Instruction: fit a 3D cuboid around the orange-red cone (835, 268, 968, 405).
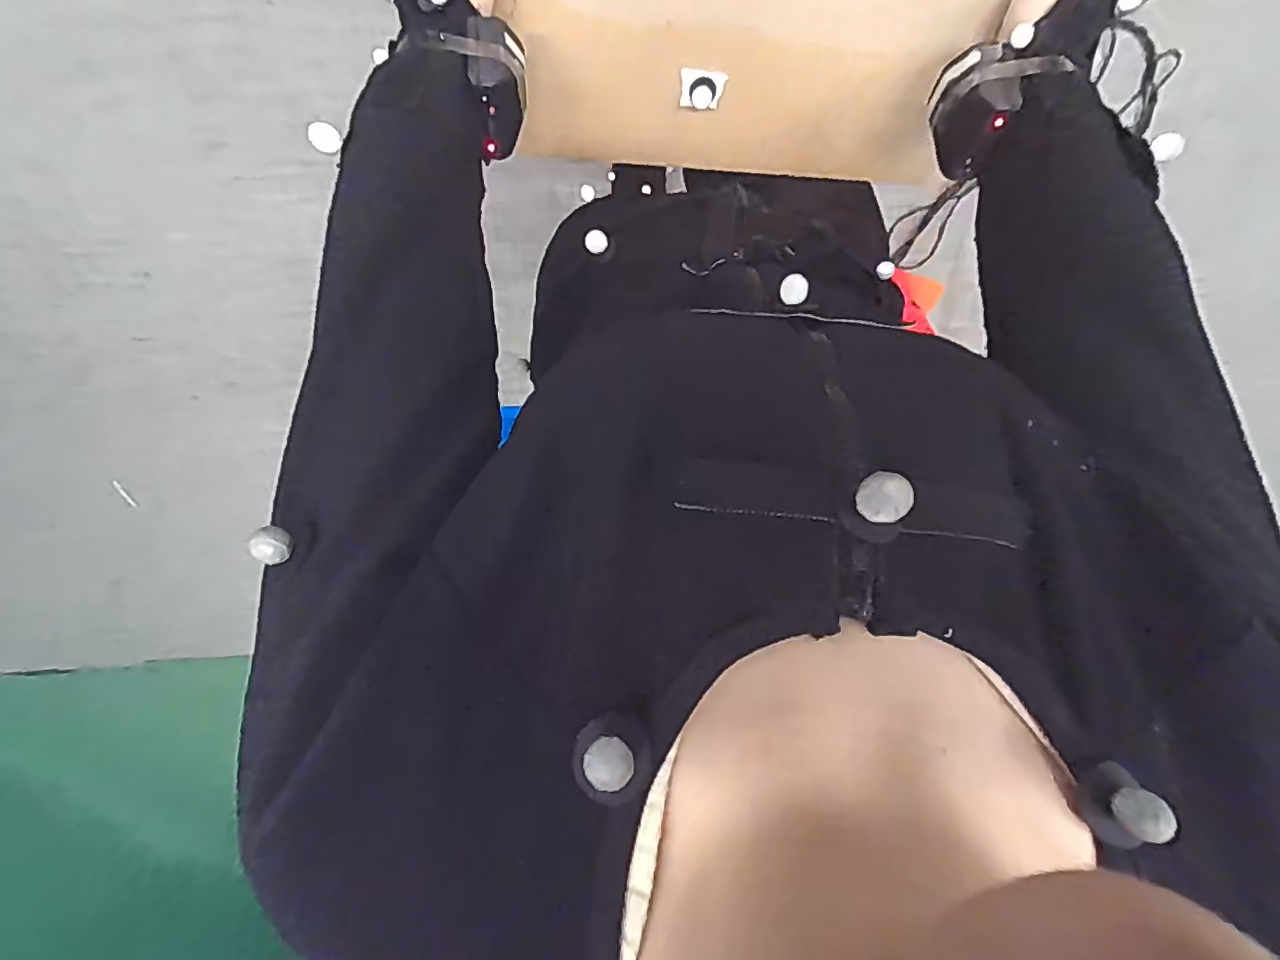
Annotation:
[{"bbox_3d":[0.587,-0.269,1.136,0.199,0.360,0.198,14,129,-14],"label":"orange-red cone"}]
